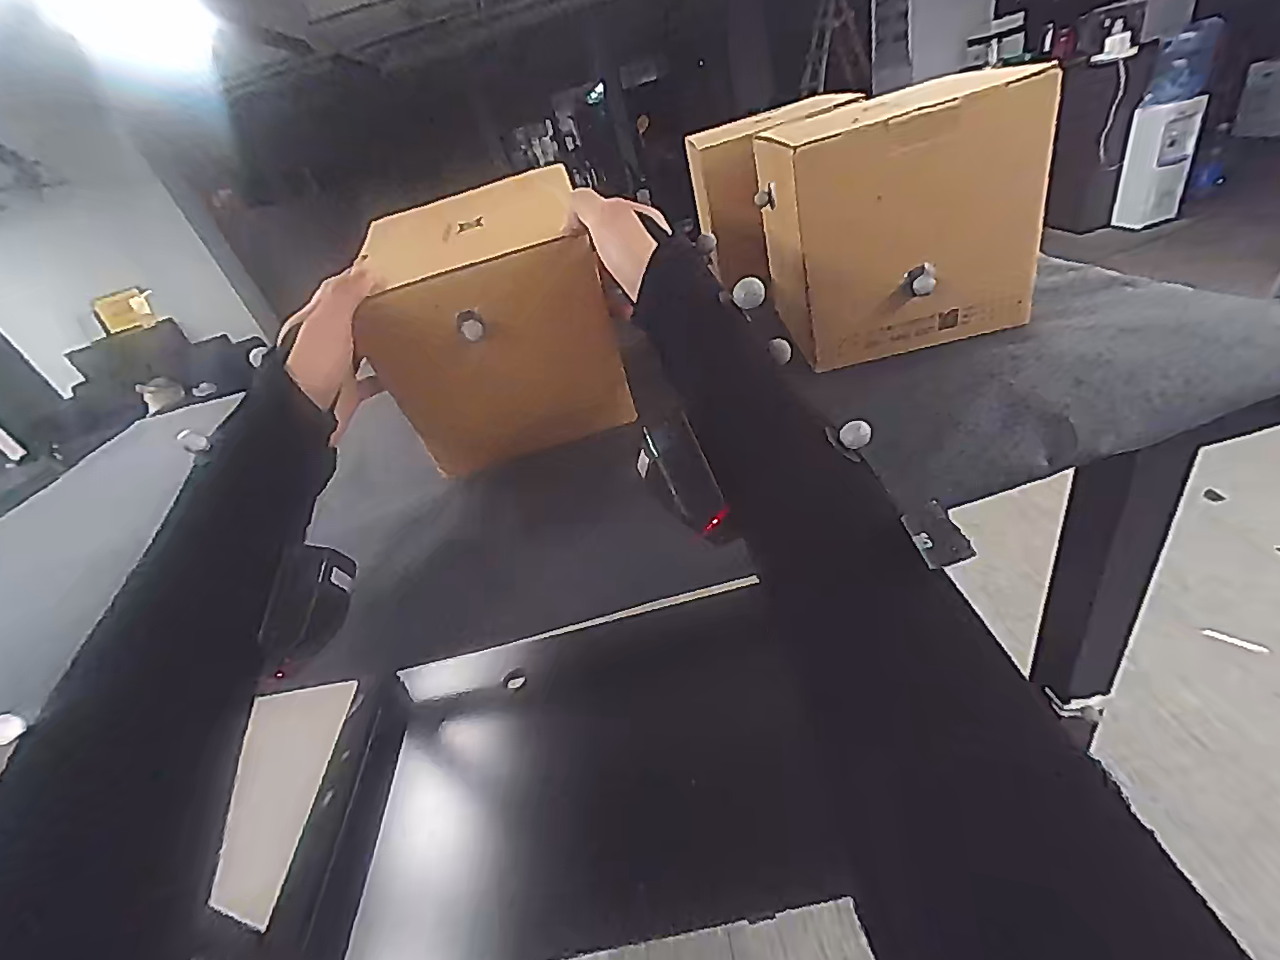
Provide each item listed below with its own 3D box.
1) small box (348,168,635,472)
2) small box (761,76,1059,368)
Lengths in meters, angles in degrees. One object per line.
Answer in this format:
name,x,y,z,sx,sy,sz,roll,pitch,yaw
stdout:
small box,-0.110,-0.135,0.469,0.179,0.176,0.168,-17,45,1
small box,0.206,-0.216,0.463,0.168,0.176,0.179,-12,34,10
